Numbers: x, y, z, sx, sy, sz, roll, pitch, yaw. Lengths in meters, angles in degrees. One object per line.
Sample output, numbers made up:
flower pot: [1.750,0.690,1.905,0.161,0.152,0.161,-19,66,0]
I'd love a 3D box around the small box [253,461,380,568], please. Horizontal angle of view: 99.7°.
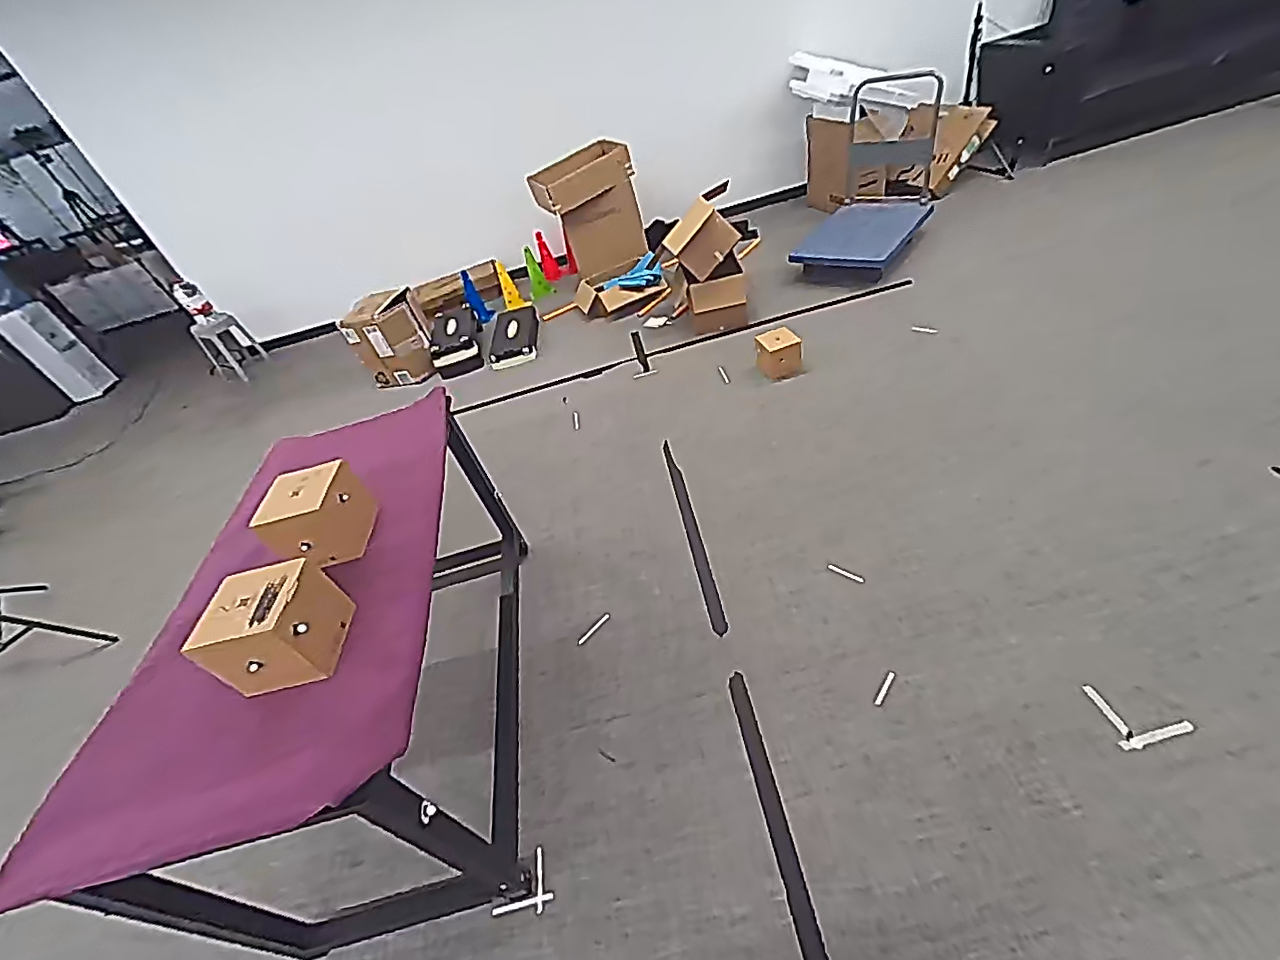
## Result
small box: [-0.740,0.087,1.263,0.168,0.176,0.179,-14,40,3]

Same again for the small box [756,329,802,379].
small box: [0.694,-0.620,2.694,0.168,0.176,0.179,-20,40,-3]
